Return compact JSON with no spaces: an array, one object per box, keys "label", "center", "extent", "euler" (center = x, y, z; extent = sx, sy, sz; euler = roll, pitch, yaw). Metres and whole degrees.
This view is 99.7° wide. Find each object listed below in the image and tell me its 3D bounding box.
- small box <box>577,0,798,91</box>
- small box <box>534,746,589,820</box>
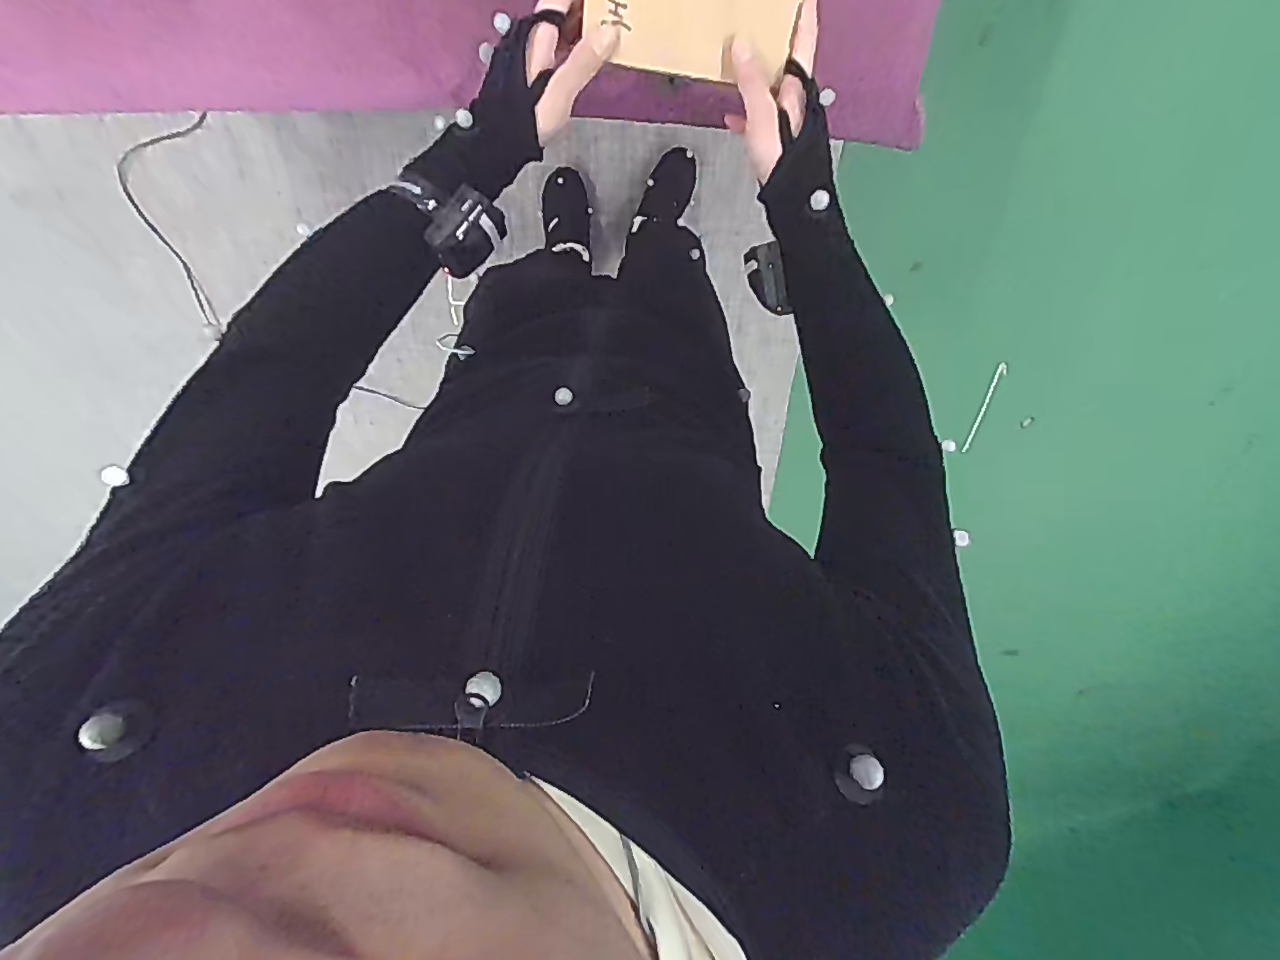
[{"label":"small box","center":[0.041,-0.458,0.473],"extent":[0.179,0.176,0.168],"euler":[5,125,-7]},{"label":"small box","center":[-0.265,1.036,1.856],"extent":[0.179,0.176,0.168],"euler":[1,122,-4]}]
